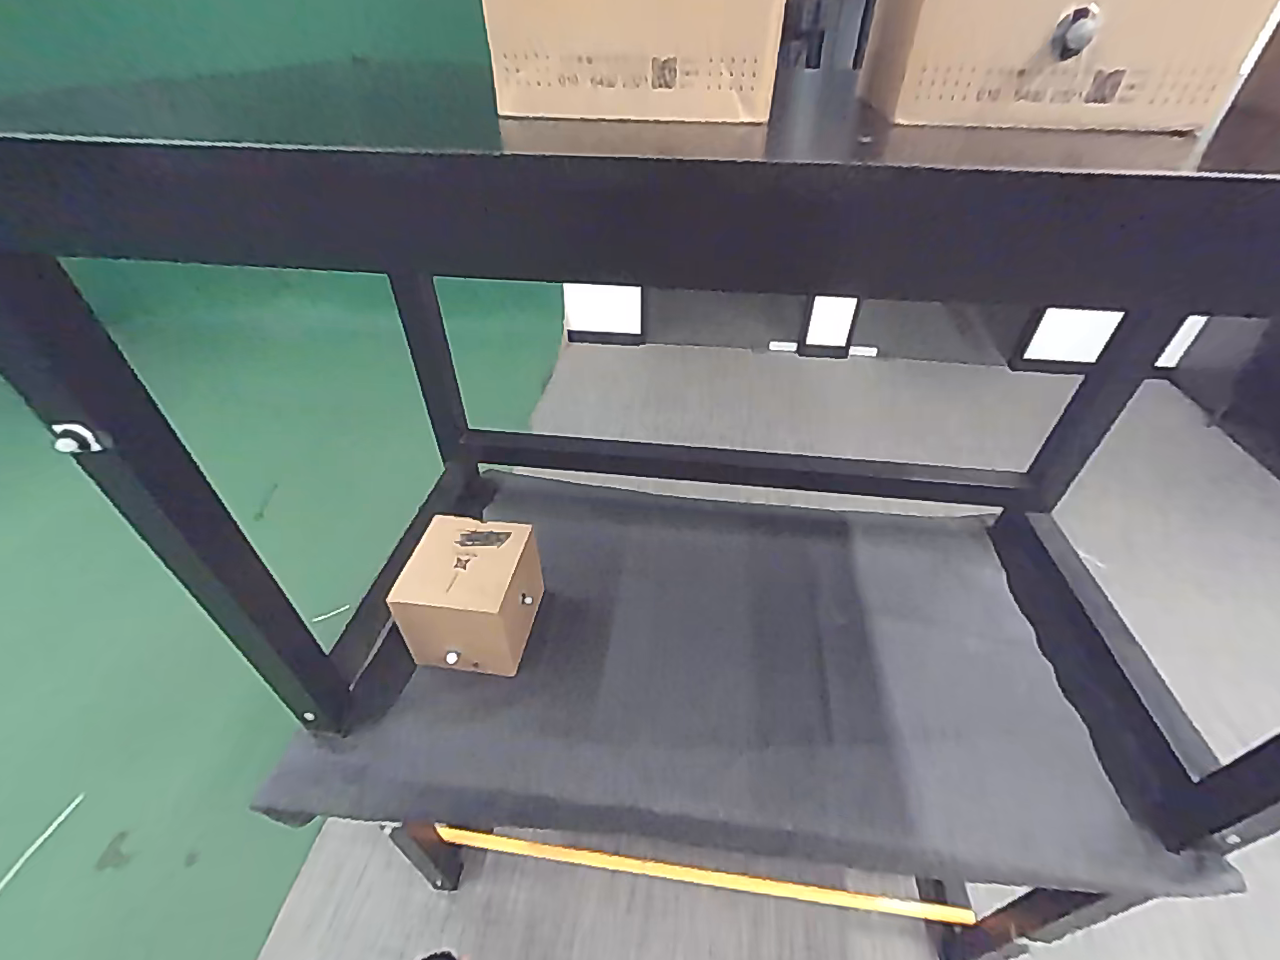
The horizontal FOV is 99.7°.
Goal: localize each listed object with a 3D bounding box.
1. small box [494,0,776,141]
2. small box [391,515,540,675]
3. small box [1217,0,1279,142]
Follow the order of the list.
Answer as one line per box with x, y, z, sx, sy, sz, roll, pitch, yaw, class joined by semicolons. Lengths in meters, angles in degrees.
0.005;-0.331;0.354;0.168;0.176;0.179;5;40;6;small box
-0.264;0.183;0.870;0.168;0.176;0.179;5;41;5;small box
0.483;-0.270;0.281;0.168;0.176;0.179;13;41;14;small box
